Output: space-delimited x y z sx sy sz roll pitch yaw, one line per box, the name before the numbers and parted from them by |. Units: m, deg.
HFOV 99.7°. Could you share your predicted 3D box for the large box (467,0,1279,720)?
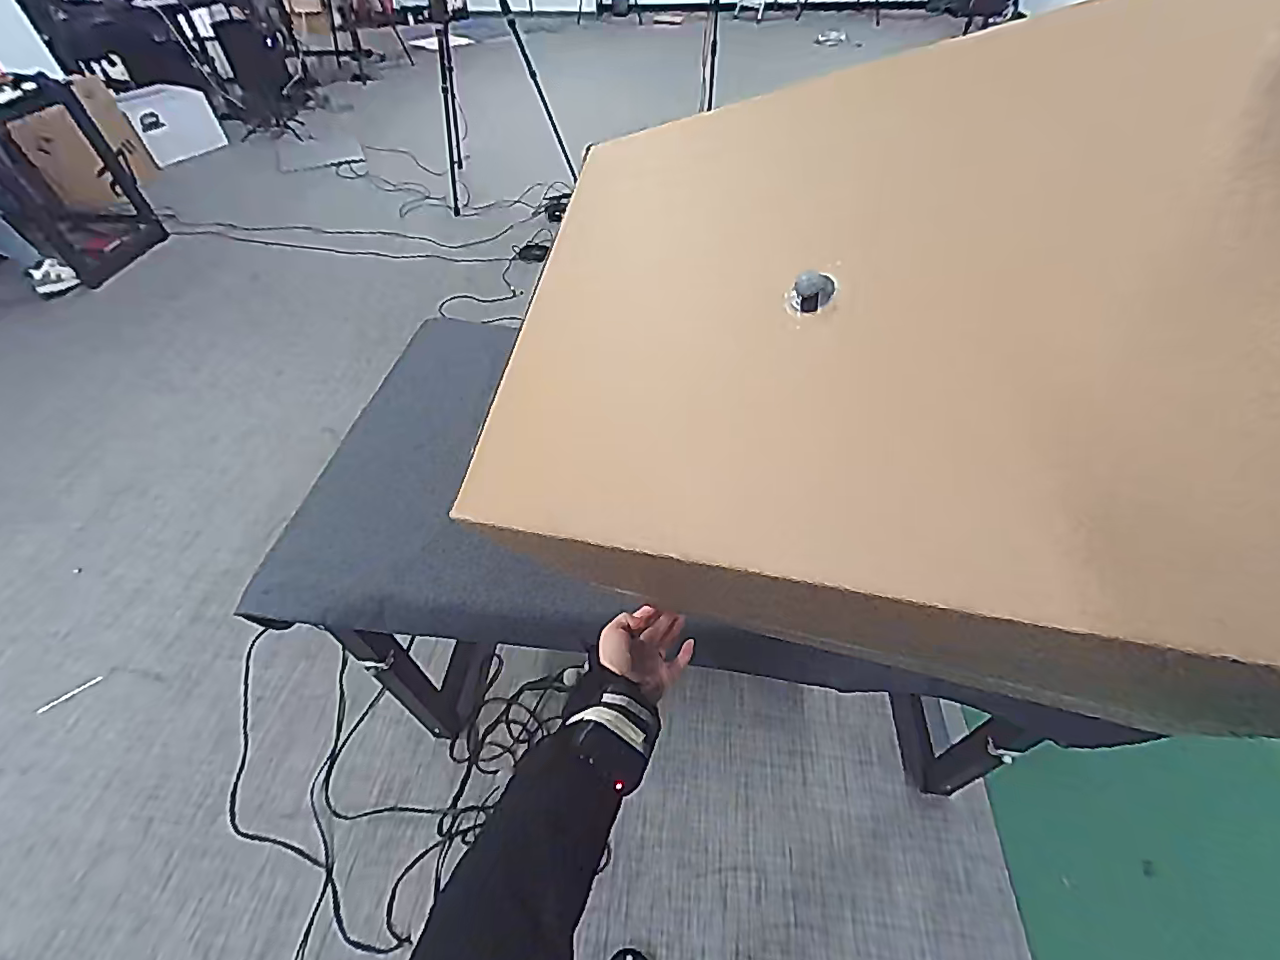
large box | 0.158 -0.036 0.403 0.408 0.320 0.320 4 70 30
